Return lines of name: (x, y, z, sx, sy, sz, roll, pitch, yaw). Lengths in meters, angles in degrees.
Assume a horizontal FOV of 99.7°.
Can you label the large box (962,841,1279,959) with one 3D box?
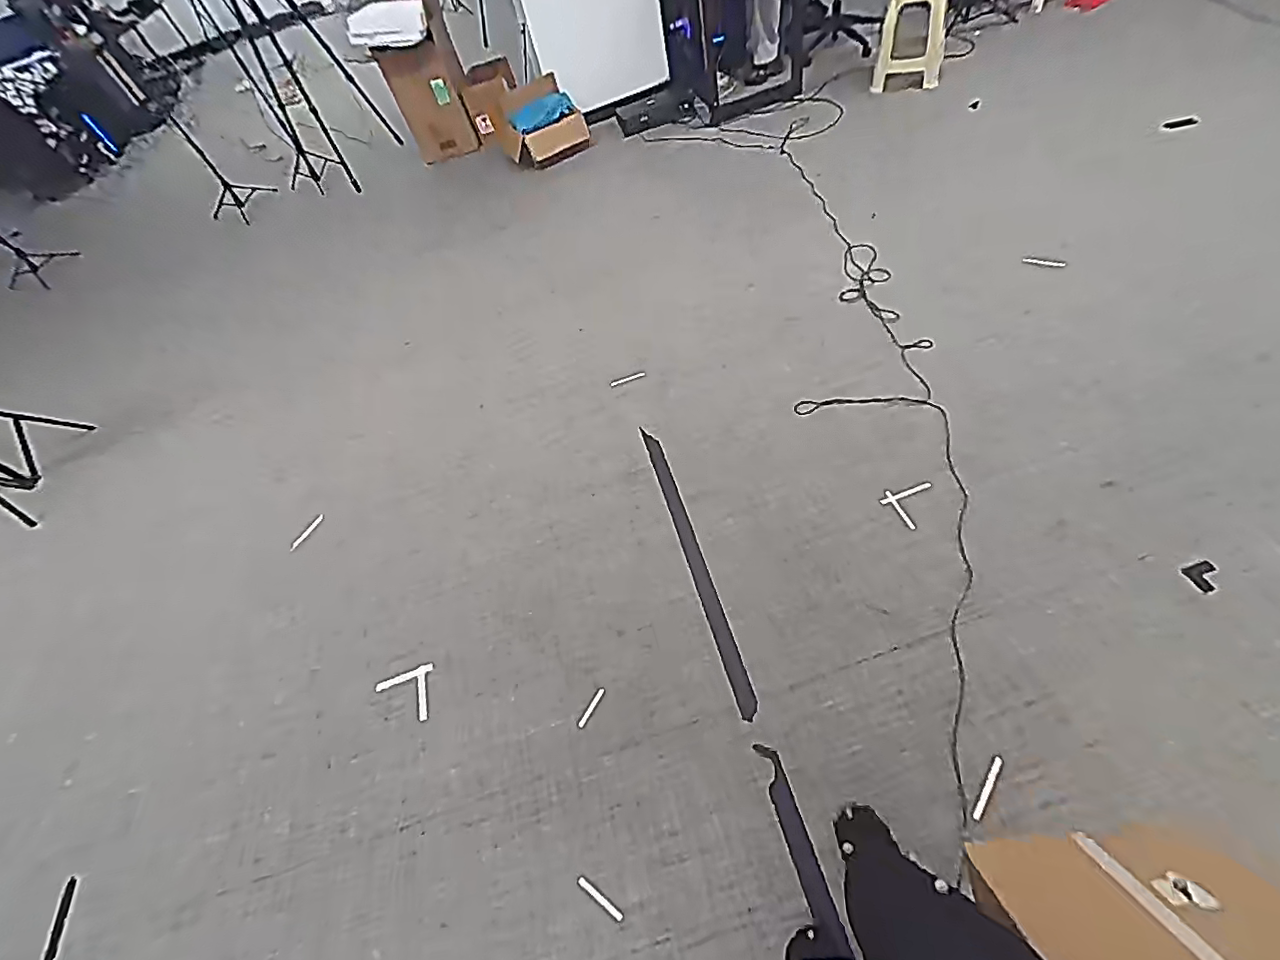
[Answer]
large box: (0.624, 0.669, 0.581, 0.320, 0.408, 0.320, -9, 82, 9)
